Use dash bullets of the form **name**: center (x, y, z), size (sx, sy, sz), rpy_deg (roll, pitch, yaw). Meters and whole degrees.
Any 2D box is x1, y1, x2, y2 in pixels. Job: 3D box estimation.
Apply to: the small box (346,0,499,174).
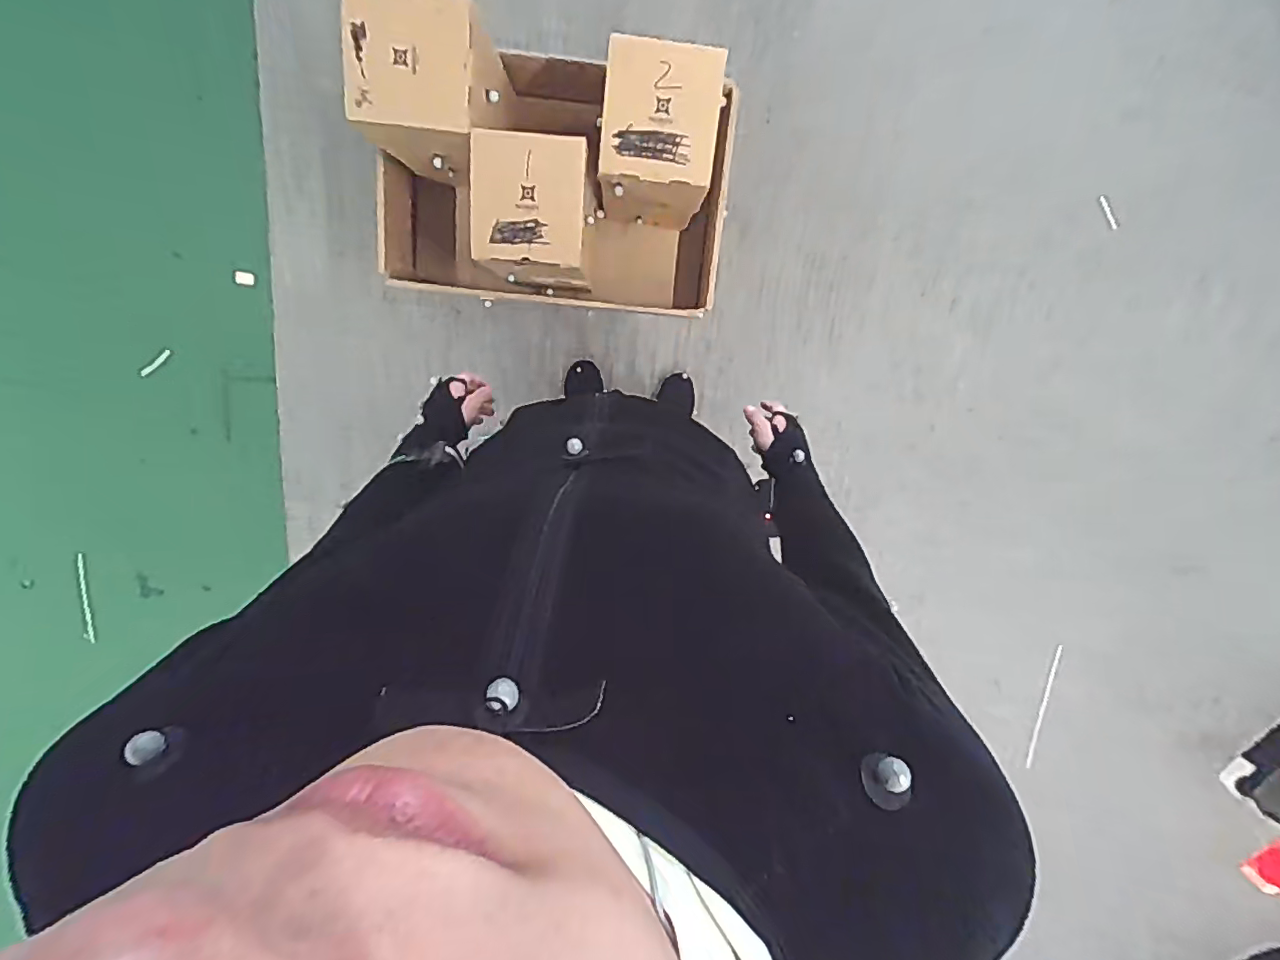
- **small box**: center (-0.319, -0.586, 0.824), size (0.179, 0.176, 0.168), rpy_deg (5, 103, -3)
